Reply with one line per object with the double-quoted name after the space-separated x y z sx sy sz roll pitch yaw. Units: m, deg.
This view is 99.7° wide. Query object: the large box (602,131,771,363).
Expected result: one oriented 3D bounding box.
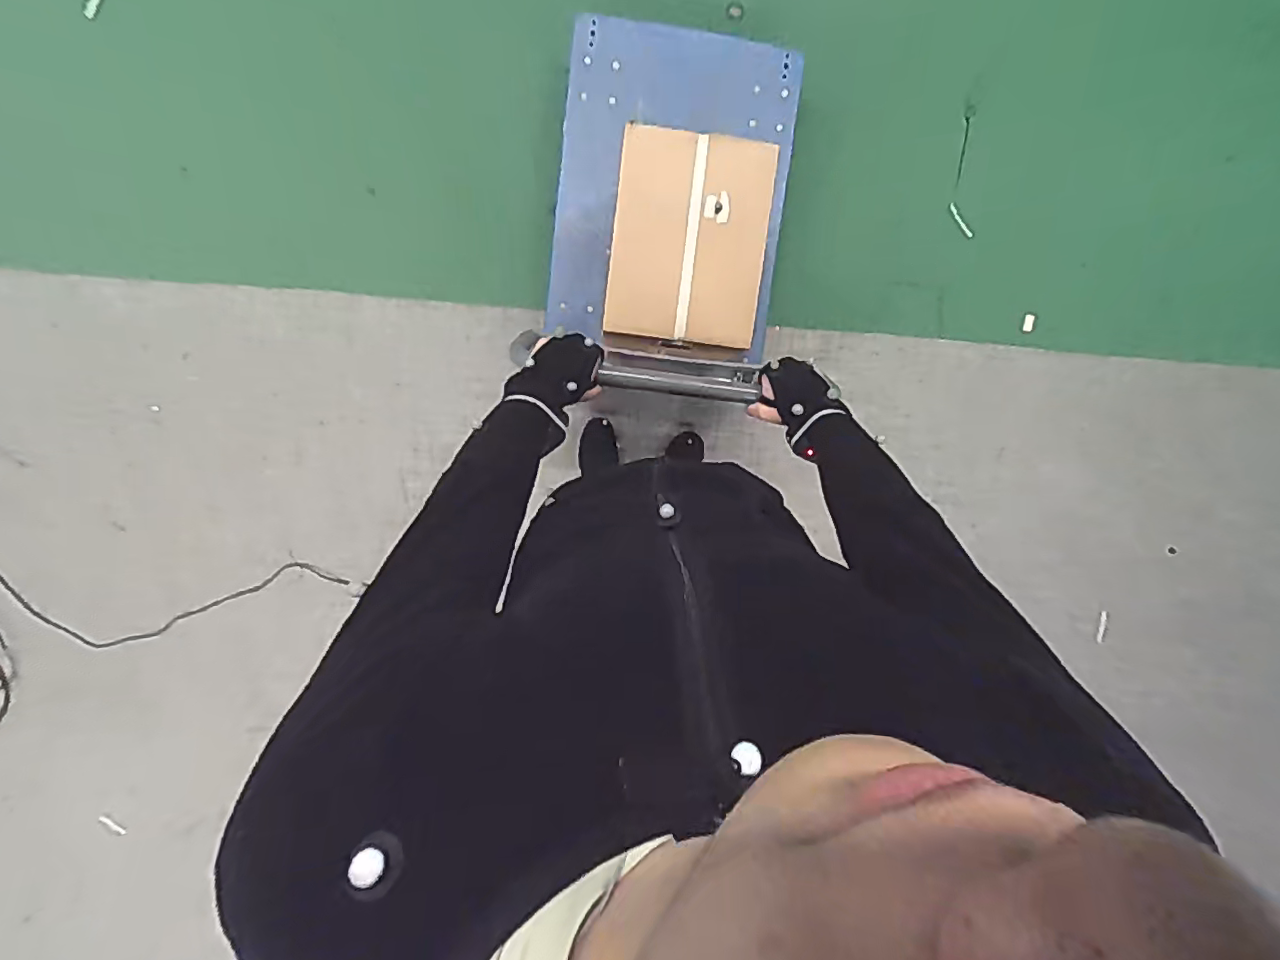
0.088 -0.498 1.248 0.320 0.320 0.408 6 96 -4 "large box"
